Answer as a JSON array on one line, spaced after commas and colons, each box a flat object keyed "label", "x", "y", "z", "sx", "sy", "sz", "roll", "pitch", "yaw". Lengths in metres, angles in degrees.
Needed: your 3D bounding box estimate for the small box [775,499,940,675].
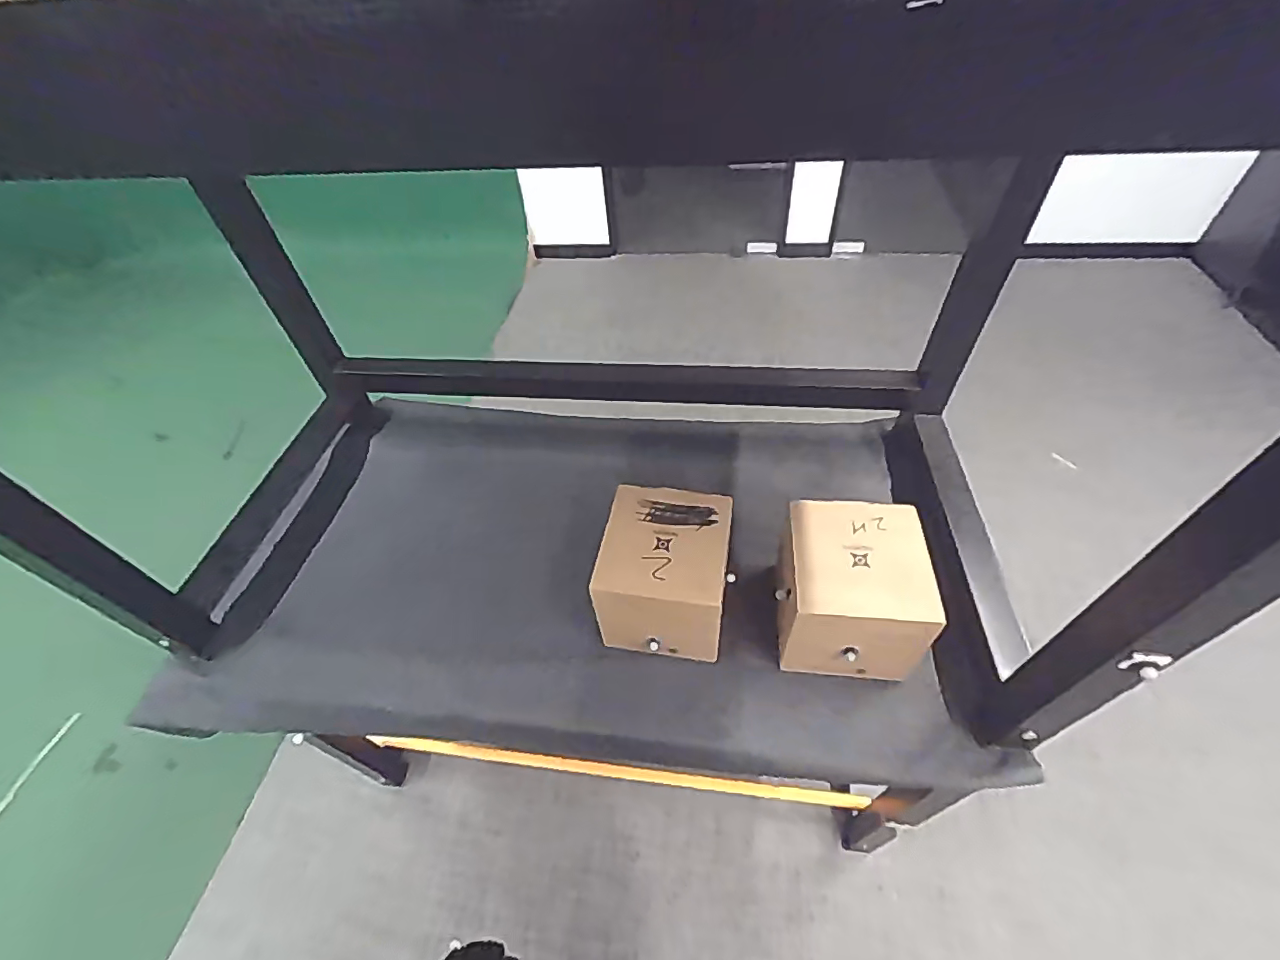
[{"label": "small box", "x": 0.279, "y": 0.149, "z": 0.739, "sx": 0.168, "sy": 0.176, "sz": 0.179, "roll": 3, "pitch": 48, "yaw": 7}]
